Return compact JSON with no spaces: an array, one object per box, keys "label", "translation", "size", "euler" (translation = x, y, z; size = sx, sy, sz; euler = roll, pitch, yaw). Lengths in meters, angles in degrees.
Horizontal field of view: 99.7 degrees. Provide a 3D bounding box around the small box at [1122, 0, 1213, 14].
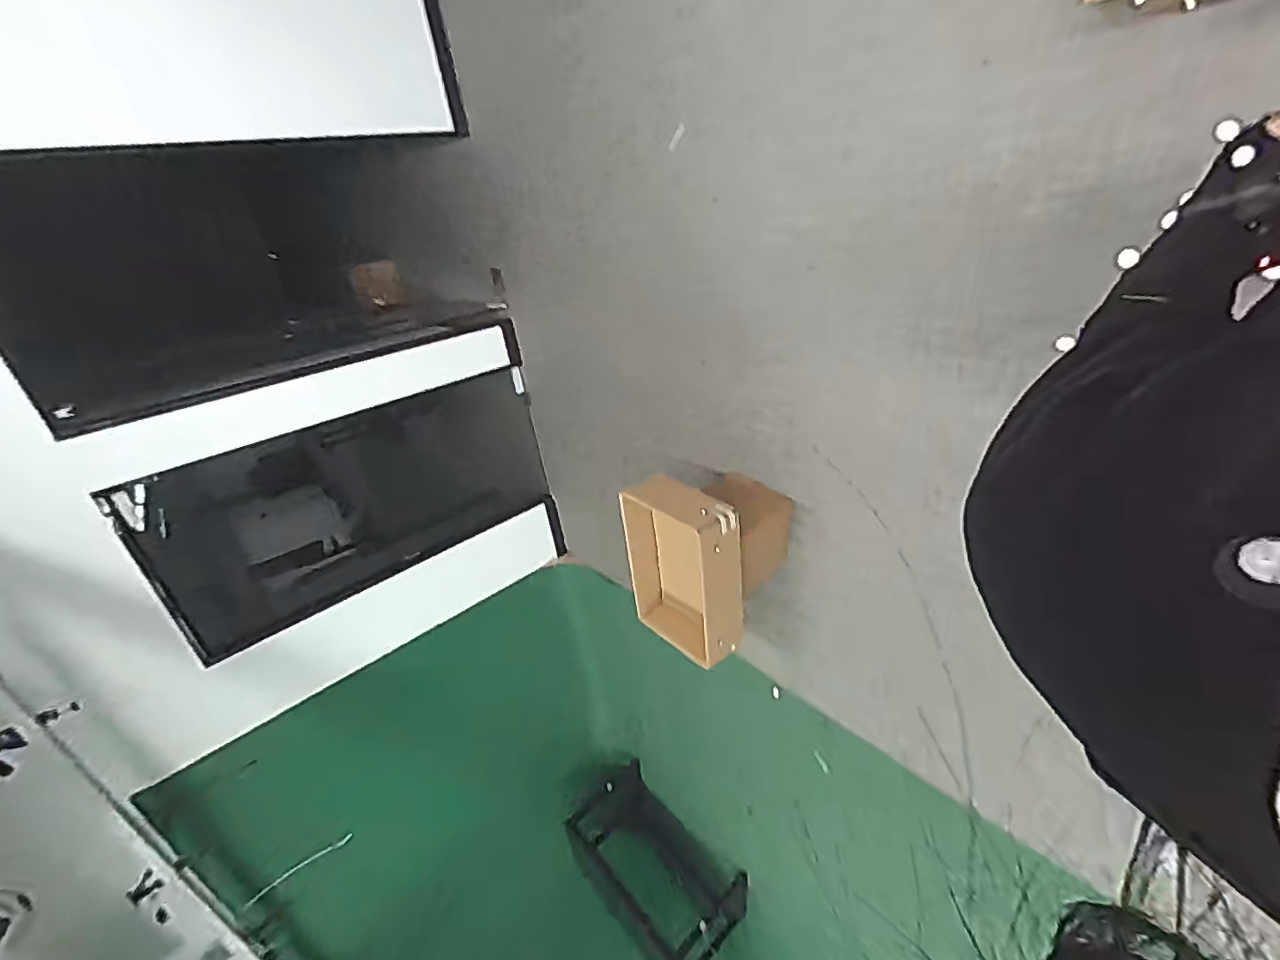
[{"label":"small box","translation":[0.890,-0.845,0.823],"size":[0.179,0.176,0.168],"euler":[24,130,47]}]
